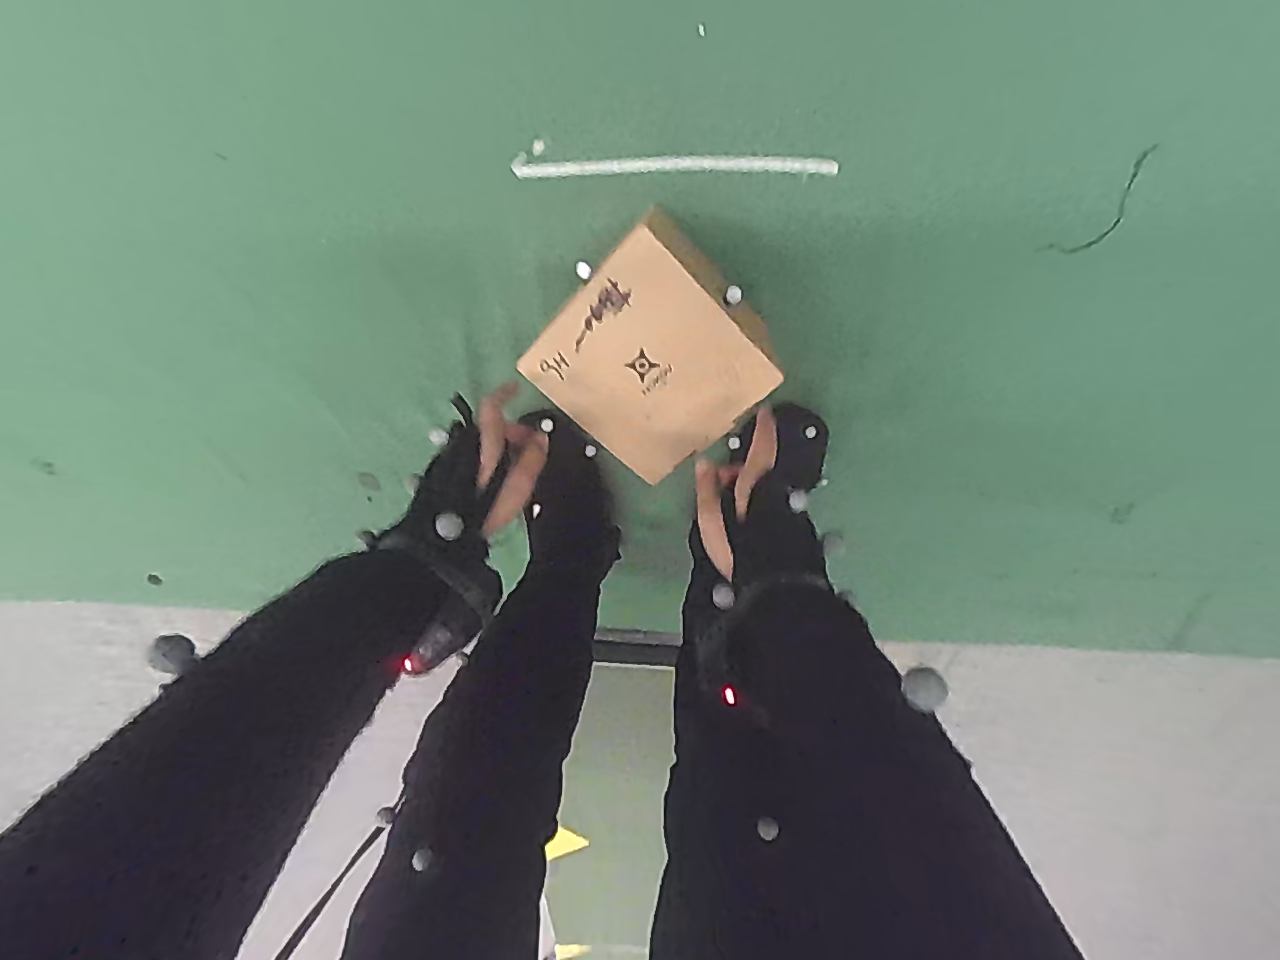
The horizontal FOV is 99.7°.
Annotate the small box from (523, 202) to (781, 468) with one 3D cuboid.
[{"bbox_3d":[0.016,-0.152,0.549,0.179,0.176,0.168,40,117,-20],"label":"small box"}]
